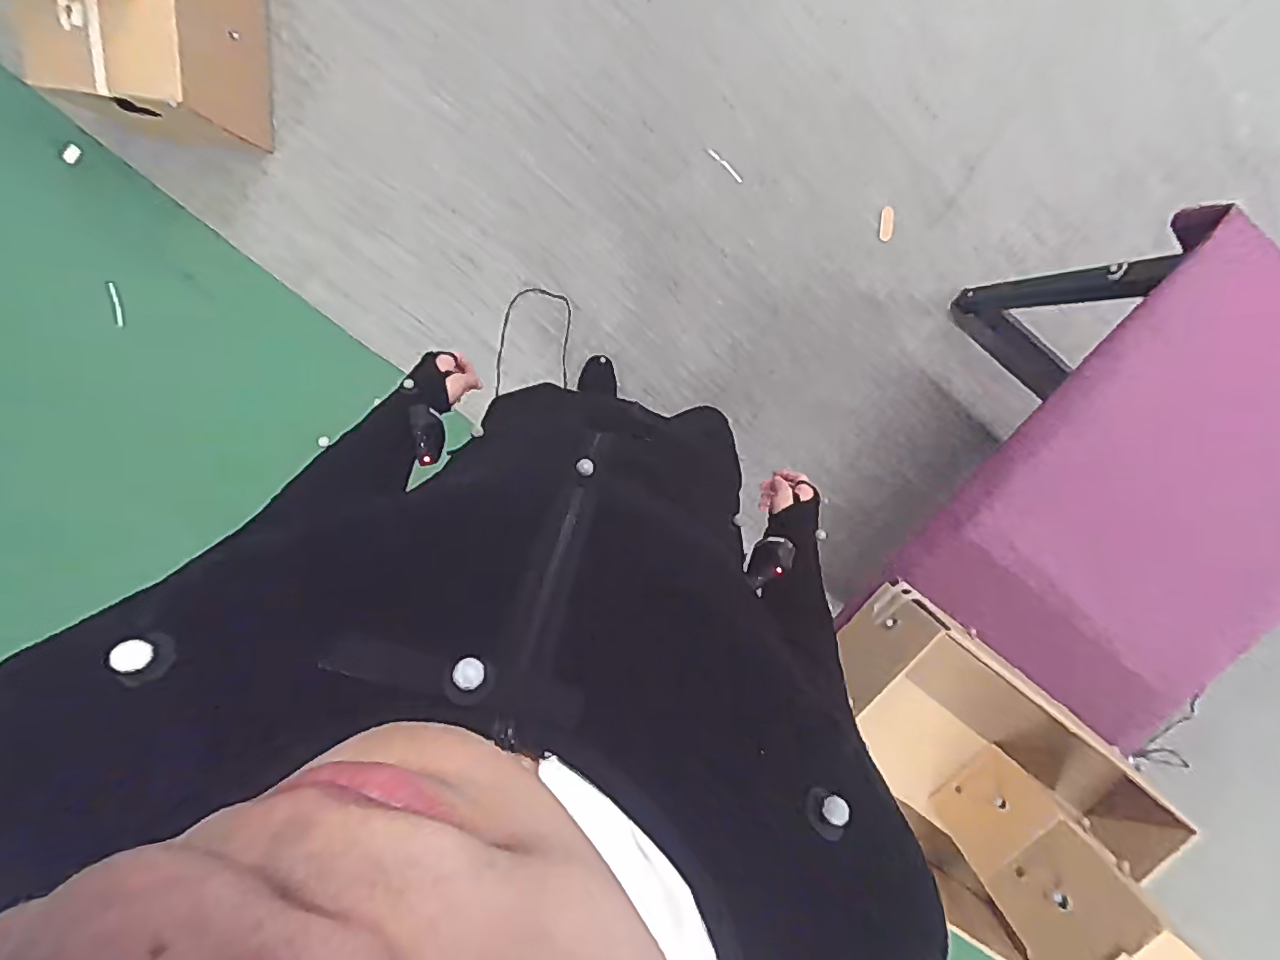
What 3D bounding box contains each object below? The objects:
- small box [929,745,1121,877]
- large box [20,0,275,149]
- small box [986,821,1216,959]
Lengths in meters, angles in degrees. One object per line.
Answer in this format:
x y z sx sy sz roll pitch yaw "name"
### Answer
0.653 0.601 0.942 0.179 0.176 0.168 39 99 -10 "small box"
-1.079 -1.026 1.209 0.320 0.320 0.408 5 105 -2 "large box"
0.659 0.642 0.783 0.179 0.176 0.168 40 99 -9 "small box"
